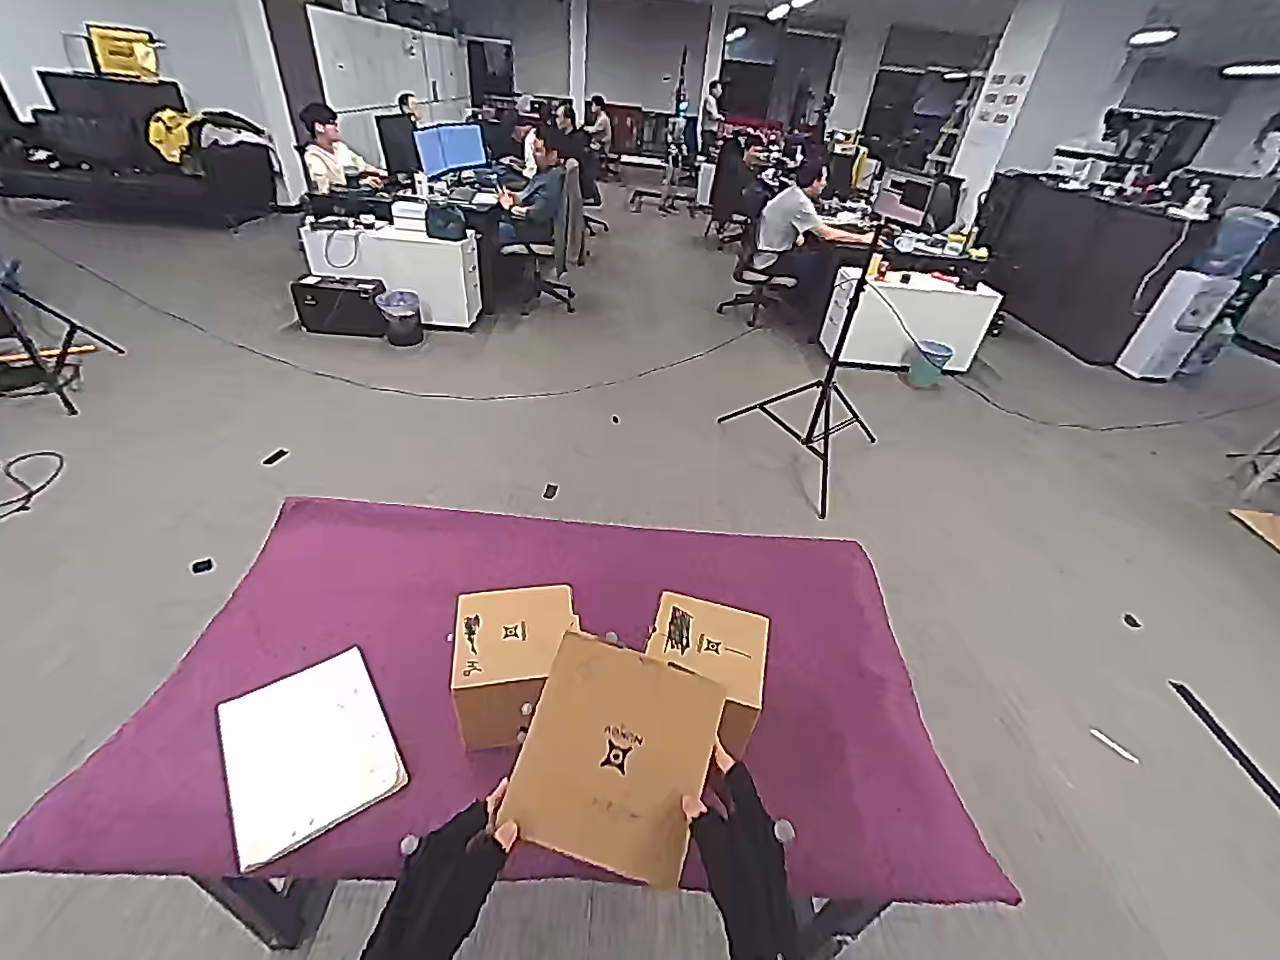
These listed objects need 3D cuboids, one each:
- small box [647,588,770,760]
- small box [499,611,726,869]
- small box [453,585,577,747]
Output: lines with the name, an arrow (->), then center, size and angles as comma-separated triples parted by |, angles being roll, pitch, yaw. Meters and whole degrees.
small box -> 0.094, 0.303, 0.847 | 0.179, 0.176, 0.168 | 13, 36, 10
small box -> -0.026, 0.254, 0.559 | 0.168, 0.176, 0.179 | 17, 69, 2
small box -> -0.186, 0.285, 0.837 | 0.179, 0.176, 0.168 | -2, 36, -13
